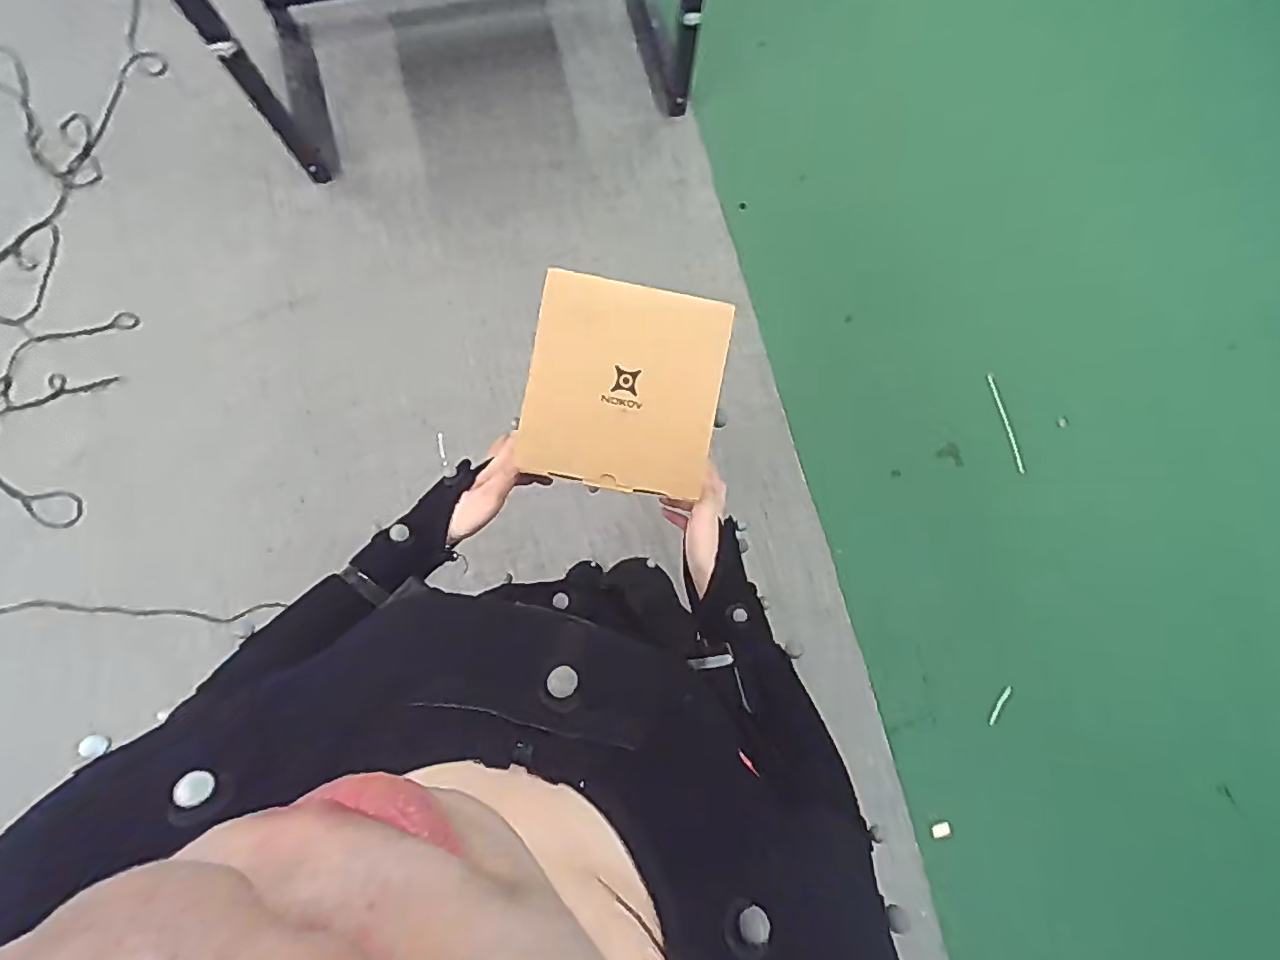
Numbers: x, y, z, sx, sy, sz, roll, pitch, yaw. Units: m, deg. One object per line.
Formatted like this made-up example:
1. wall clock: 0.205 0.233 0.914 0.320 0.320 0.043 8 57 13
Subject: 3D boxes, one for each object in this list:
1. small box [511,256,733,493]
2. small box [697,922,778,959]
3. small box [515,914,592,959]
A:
1. small box: -0.021 -0.090 0.533 0.168 0.176 0.179 9 92 -4
2. small box: 0.231 1.094 1.134 0.168 0.176 0.179 -17 82 -7
3. small box: -0.198 1.167 1.260 0.168 0.176 0.179 -4 81 -4
